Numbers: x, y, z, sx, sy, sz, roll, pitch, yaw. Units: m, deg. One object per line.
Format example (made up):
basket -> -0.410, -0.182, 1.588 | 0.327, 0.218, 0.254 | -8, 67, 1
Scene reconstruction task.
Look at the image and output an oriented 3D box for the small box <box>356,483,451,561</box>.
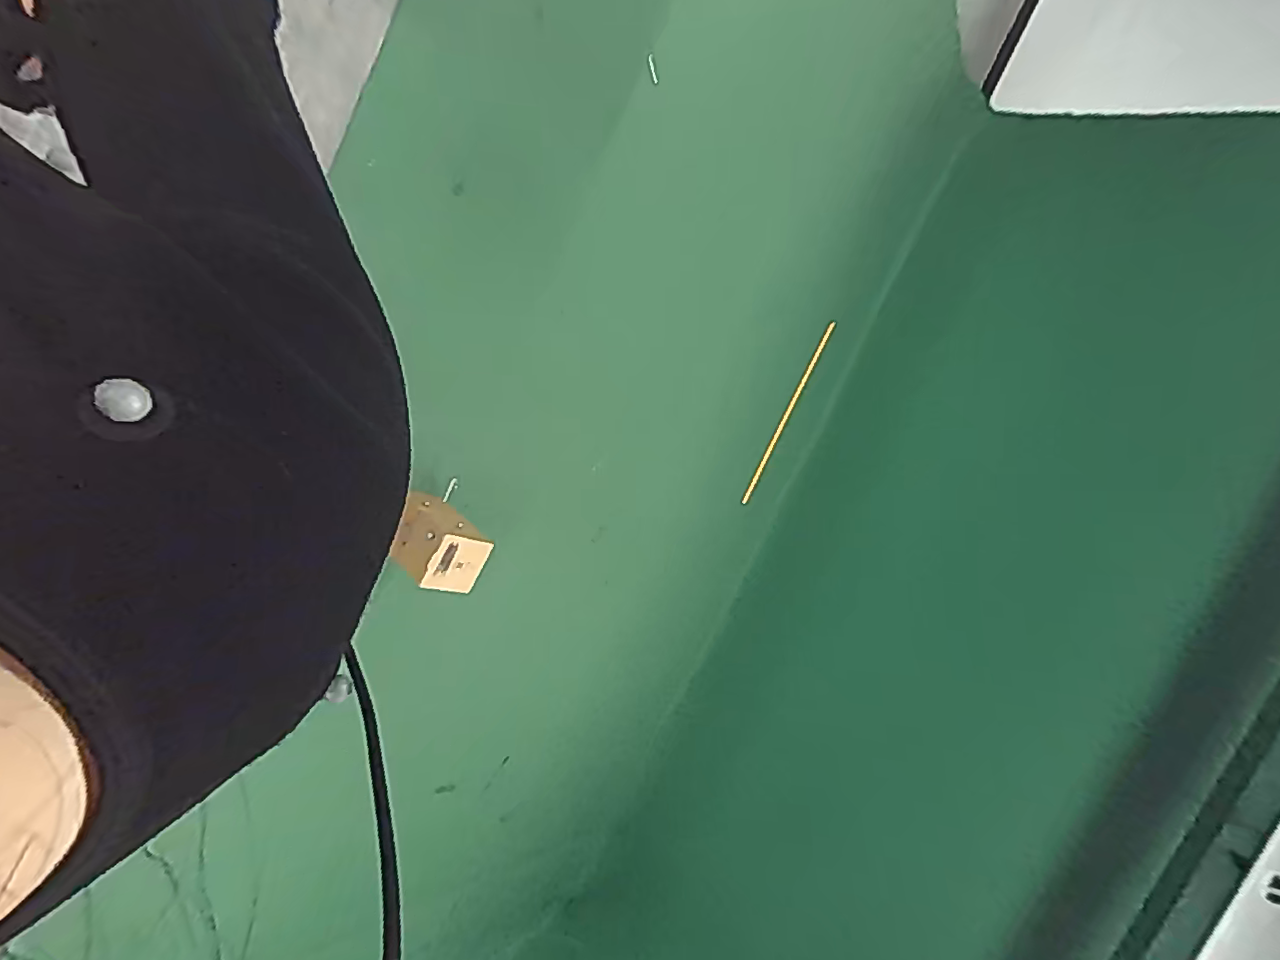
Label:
small box -> -0.726, 0.128, 1.658 | 0.179, 0.176, 0.168 | 27, 92, -55
